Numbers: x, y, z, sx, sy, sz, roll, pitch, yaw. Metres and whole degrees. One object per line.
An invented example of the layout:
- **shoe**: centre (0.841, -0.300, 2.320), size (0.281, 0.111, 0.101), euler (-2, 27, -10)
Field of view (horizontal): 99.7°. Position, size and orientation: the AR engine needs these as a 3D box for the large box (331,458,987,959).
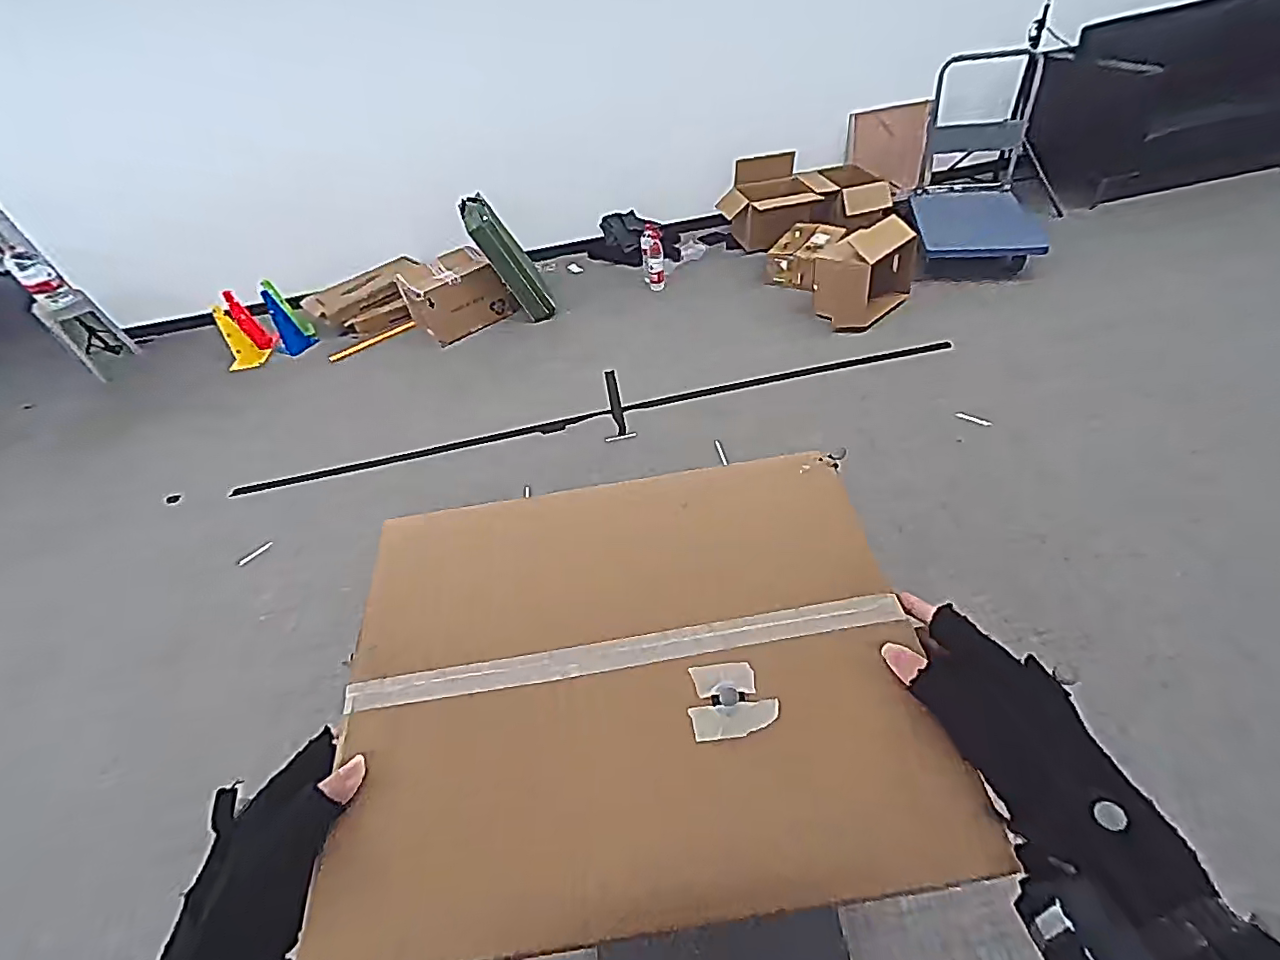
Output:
- **large box**: centre (0.005, 0.221, 0.525), size (0.408, 0.320, 0.320), euler (-9, 52, -1)
